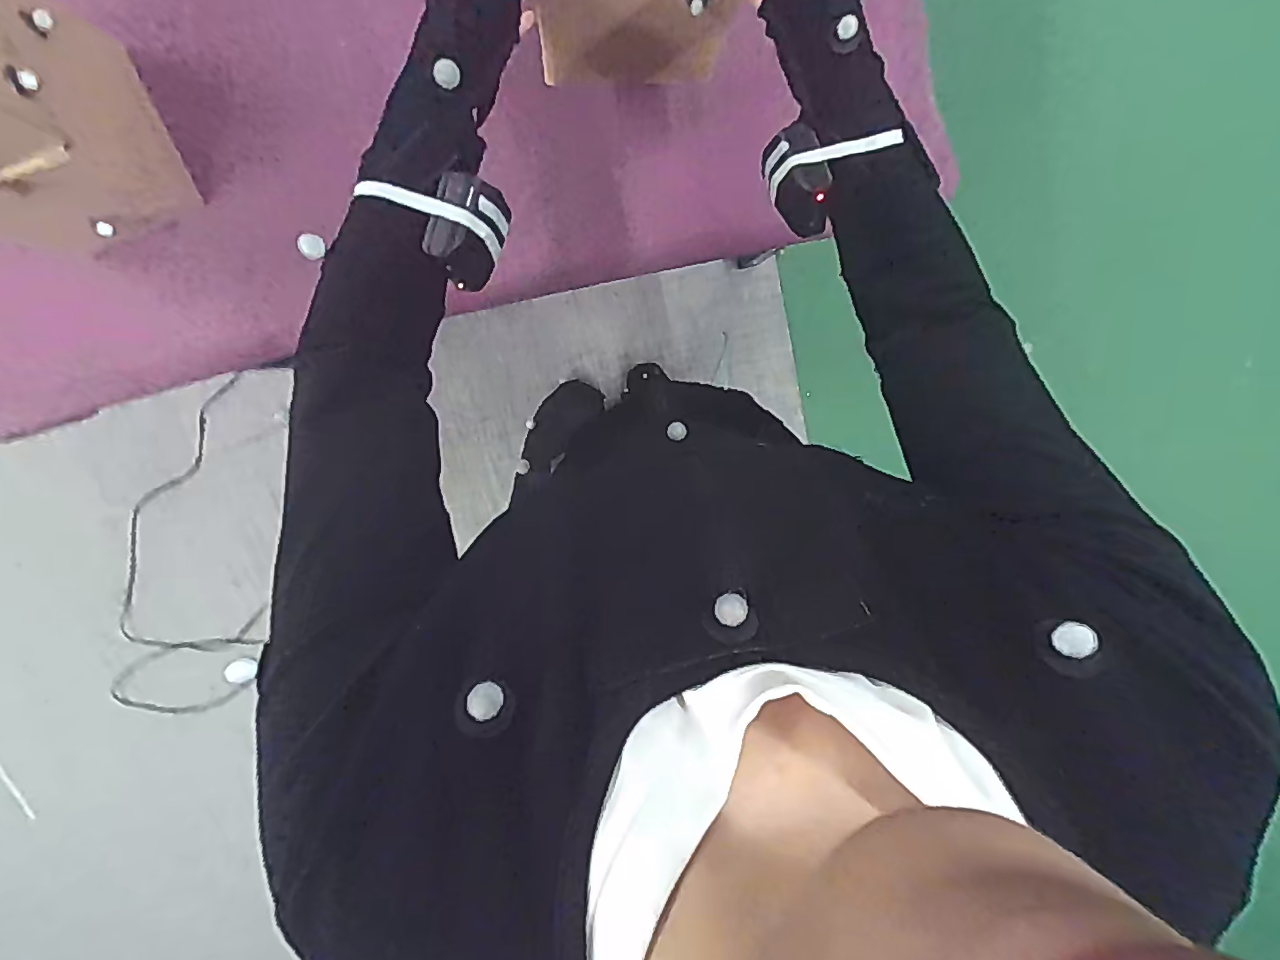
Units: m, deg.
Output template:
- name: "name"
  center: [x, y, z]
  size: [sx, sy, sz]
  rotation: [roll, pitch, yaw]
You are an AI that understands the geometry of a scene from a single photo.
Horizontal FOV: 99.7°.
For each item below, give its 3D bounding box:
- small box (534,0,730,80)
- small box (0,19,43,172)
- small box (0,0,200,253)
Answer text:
- name: "small box"
  center: [-0.010, -0.479, 0.467]
  size: [0.179, 0.176, 0.168]
  rotation: [-5, 101, -5]
- name: "small box"
  center: [-0.601, -0.325, 0.381]
  size: [0.179, 0.176, 0.168]
  rotation: [-18, 101, 1]
- name: "small box"
  center: [-0.614, -0.355, 0.545]
  size: [0.168, 0.176, 0.179]
  rotation: [-20, 103, 2]
